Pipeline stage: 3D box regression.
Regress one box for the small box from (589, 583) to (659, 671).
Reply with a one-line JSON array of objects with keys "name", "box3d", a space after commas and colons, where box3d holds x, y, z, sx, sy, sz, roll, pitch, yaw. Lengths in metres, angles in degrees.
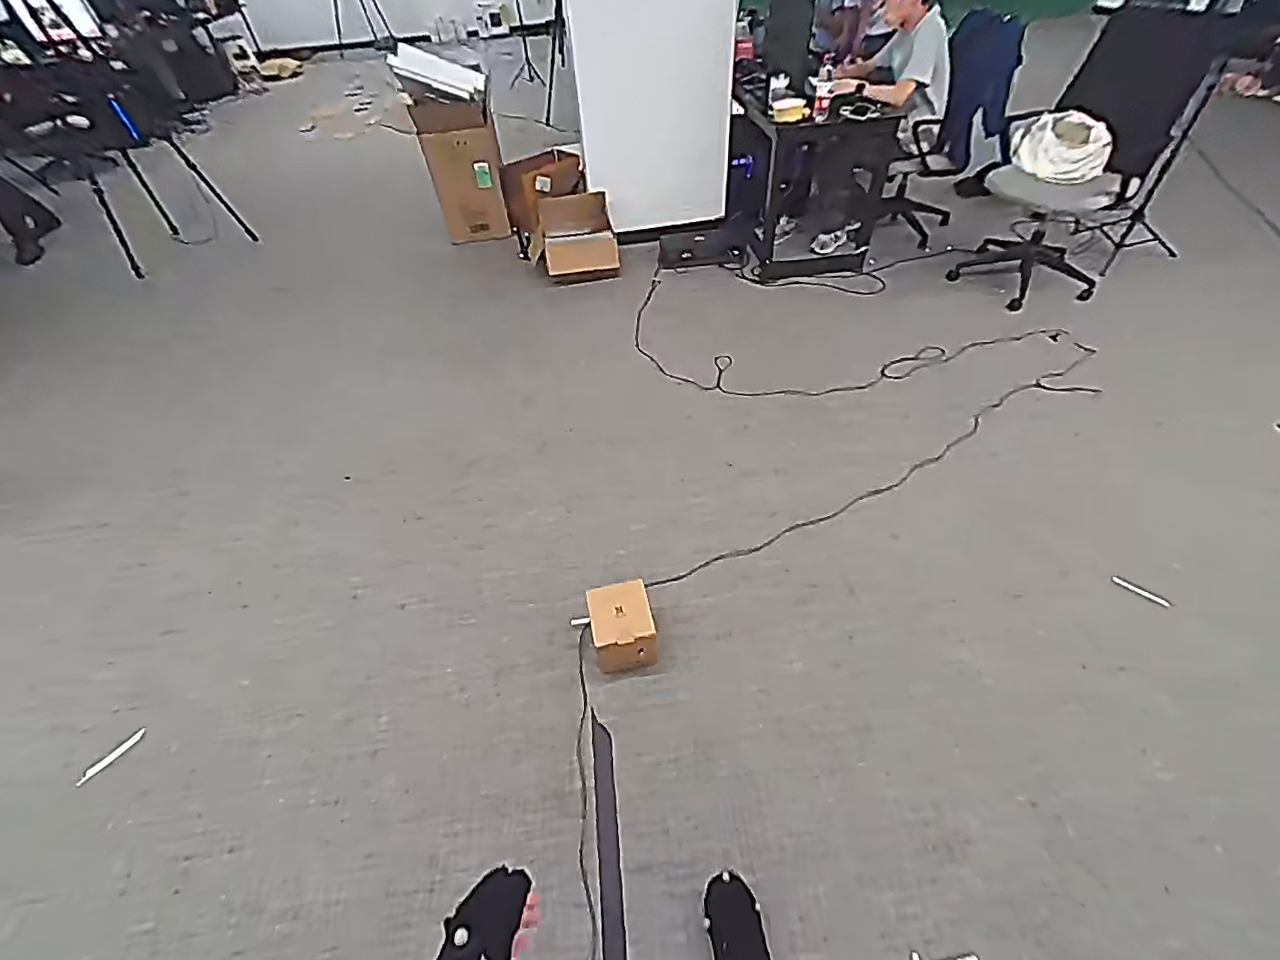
[{"name": "small box", "box3d": [-0.043, 0.420, 1.521, 0.168, 0.176, 0.179, -11, 47, -5]}]
